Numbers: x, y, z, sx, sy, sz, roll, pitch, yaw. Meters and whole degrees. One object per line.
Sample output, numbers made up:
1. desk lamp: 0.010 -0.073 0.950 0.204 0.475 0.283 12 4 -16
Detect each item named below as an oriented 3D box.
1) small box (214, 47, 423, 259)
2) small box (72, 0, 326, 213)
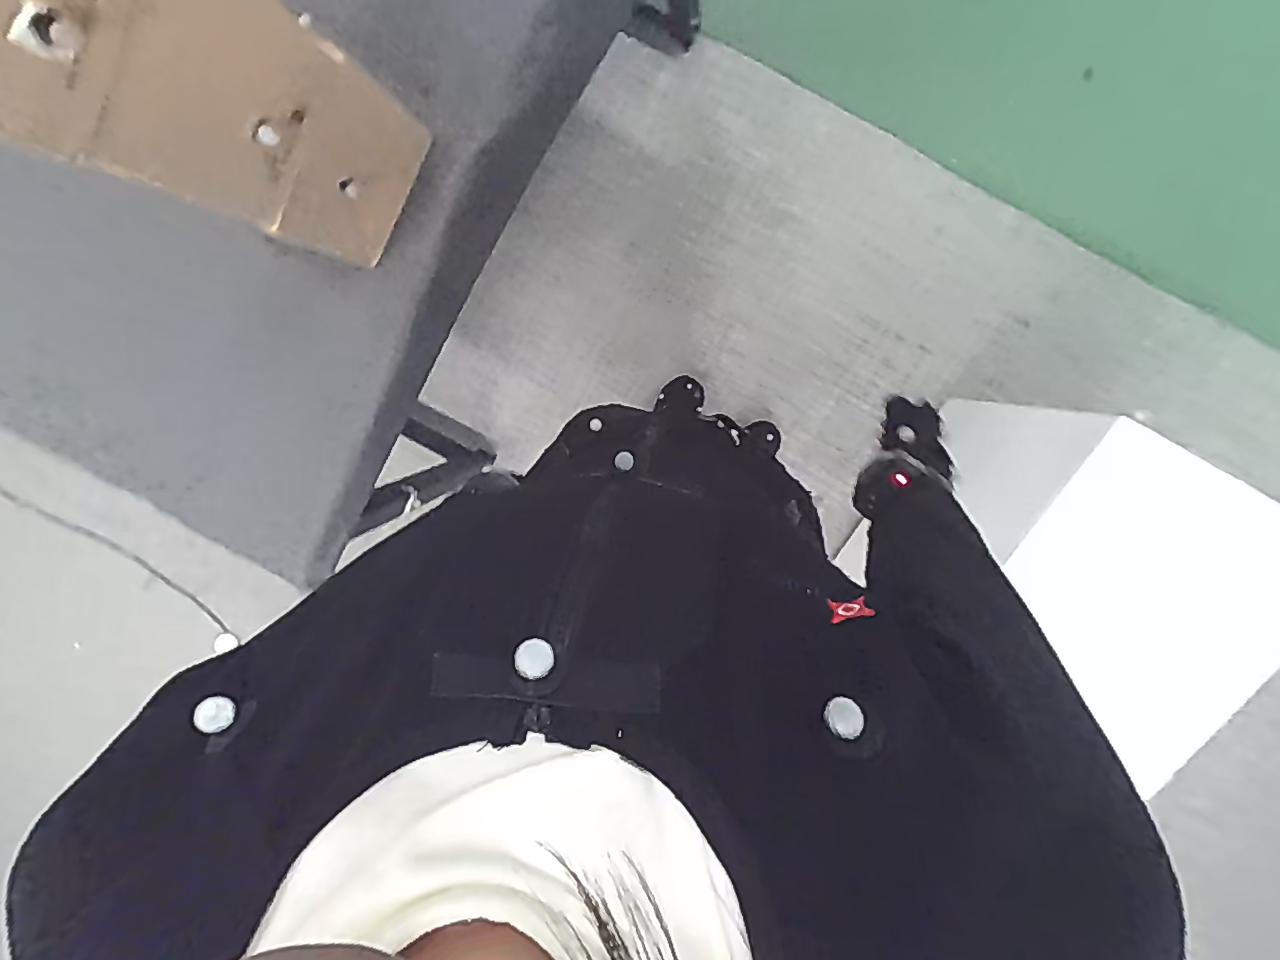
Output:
1. small box: -0.369 -0.366 0.582 0.168 0.176 0.179 32 104 1
2. small box: -0.398 -0.341 0.421 0.179 0.176 0.168 30 103 3
